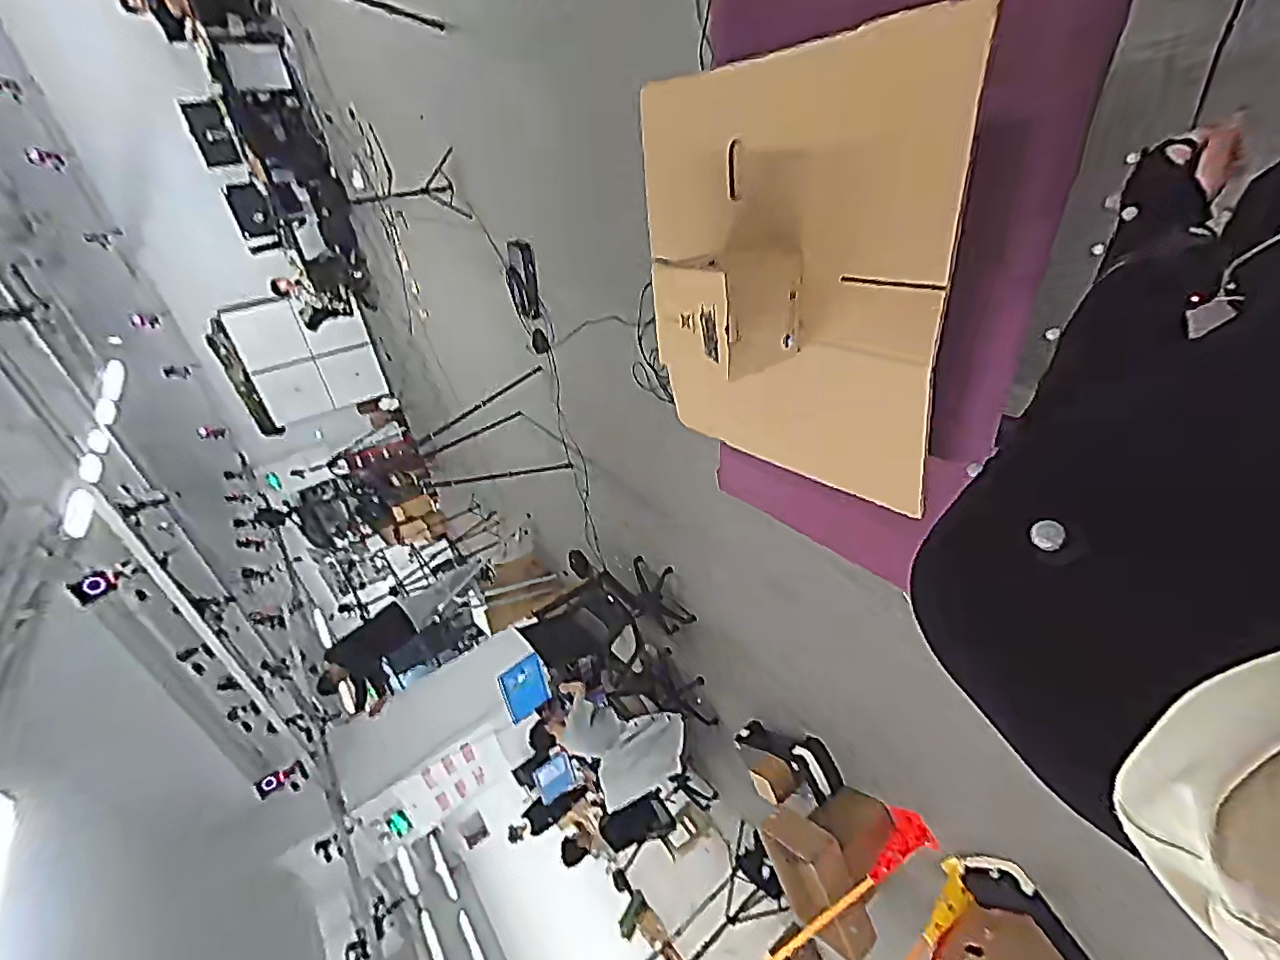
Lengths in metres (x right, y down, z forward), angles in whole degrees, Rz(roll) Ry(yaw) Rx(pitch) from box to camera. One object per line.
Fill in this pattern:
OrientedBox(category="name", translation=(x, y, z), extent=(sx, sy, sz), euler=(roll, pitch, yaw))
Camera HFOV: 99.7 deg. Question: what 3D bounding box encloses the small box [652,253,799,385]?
OrientedBox(category="small box", translation=(0.145, -0.276, 0.899), extent=(0.179, 0.176, 0.168), euler=(30, 136, 46))
